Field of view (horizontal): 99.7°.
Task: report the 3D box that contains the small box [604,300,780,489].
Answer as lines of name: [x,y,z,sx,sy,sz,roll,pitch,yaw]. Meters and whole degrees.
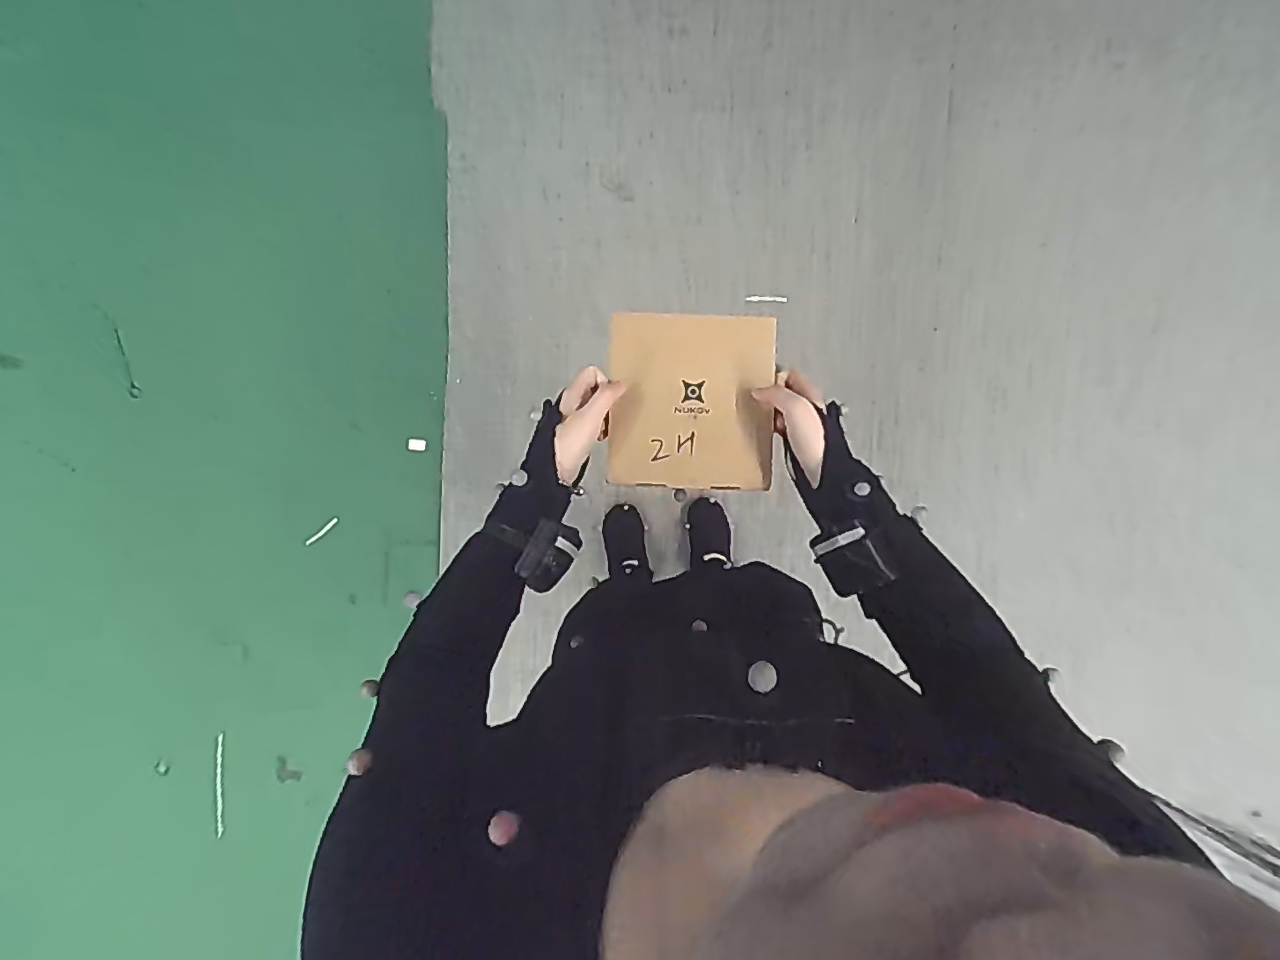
small box: [0.050,-0.082,0.601,0.168,0.176,0.179,3,89,0]
